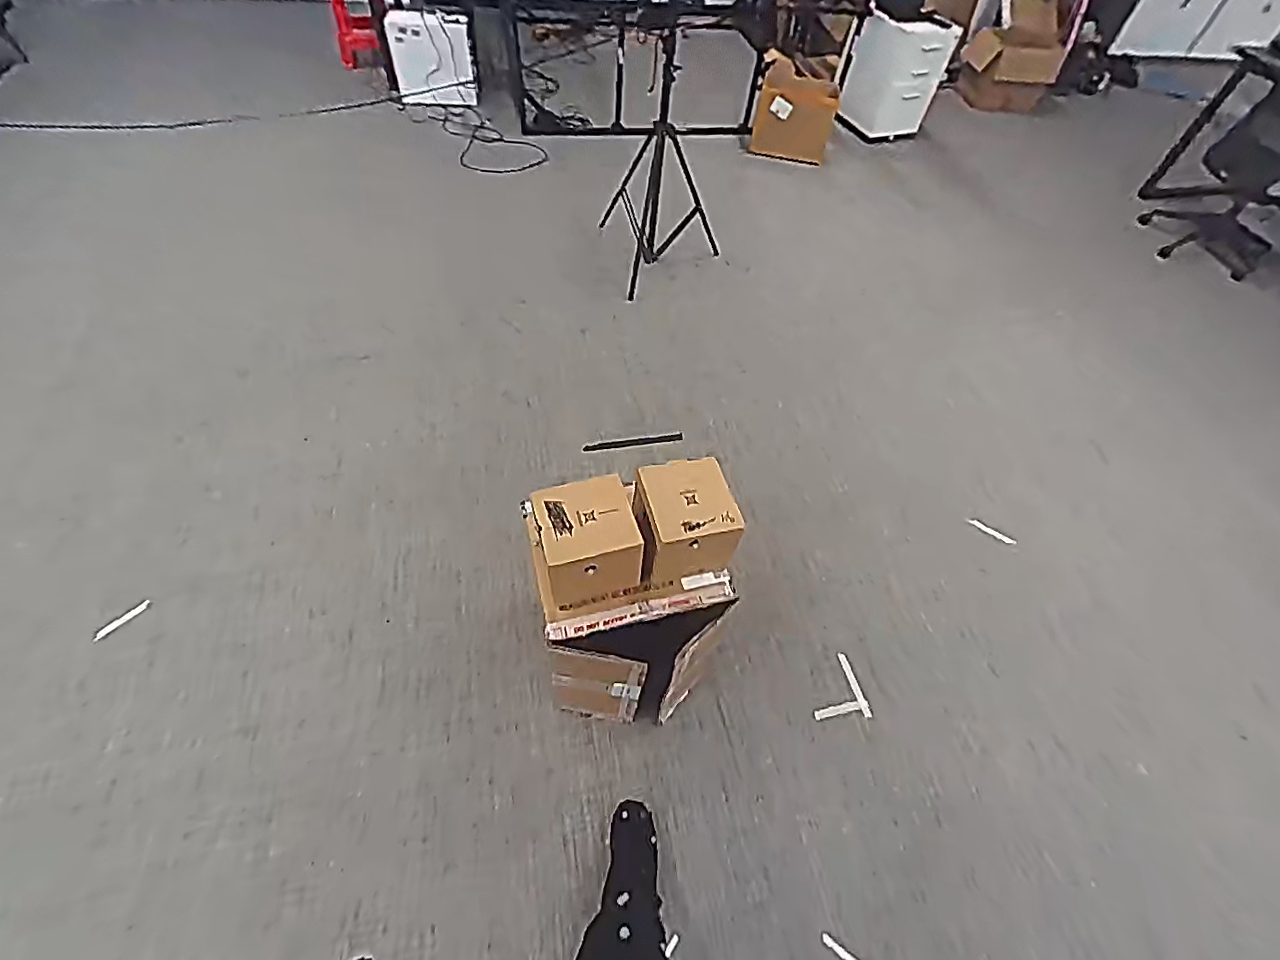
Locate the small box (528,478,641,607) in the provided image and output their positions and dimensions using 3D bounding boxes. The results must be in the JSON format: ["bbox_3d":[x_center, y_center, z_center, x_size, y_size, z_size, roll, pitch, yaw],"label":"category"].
[{"bbox_3d":[-0.106,0.124,1.041,0.179,0.176,0.168,-13,55,-13],"label":"small box"}]

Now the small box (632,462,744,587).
[{"bbox_3d":[0.084,0.089,1.087,0.168,0.176,0.179,-9,53,-14],"label":"small box"}]
